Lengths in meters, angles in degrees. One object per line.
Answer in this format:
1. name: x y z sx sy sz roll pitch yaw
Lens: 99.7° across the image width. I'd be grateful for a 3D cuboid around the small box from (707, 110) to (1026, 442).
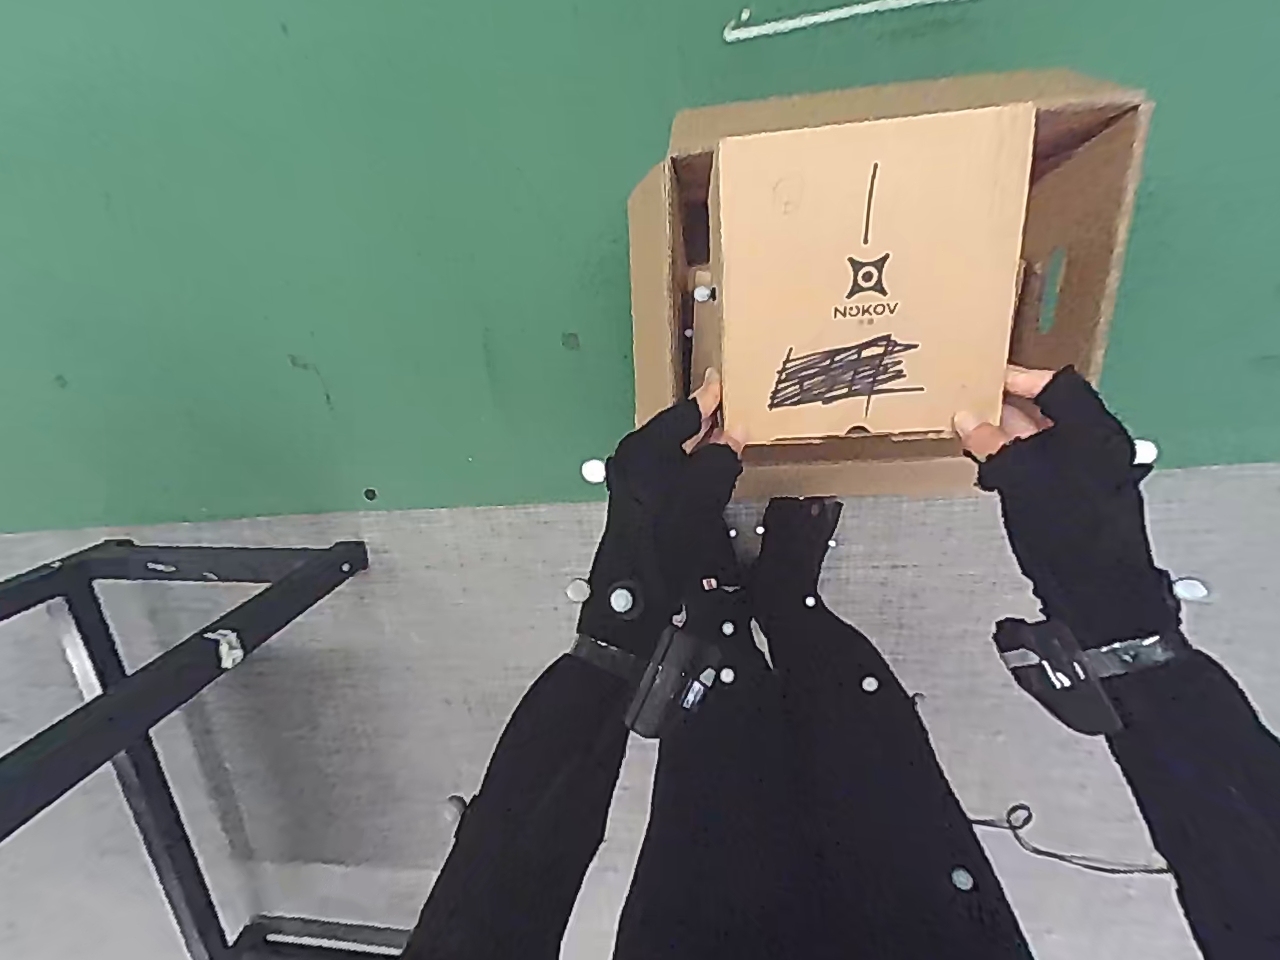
1. small box: 0.134 -0.134 0.392 0.168 0.176 0.179 -2 107 6
